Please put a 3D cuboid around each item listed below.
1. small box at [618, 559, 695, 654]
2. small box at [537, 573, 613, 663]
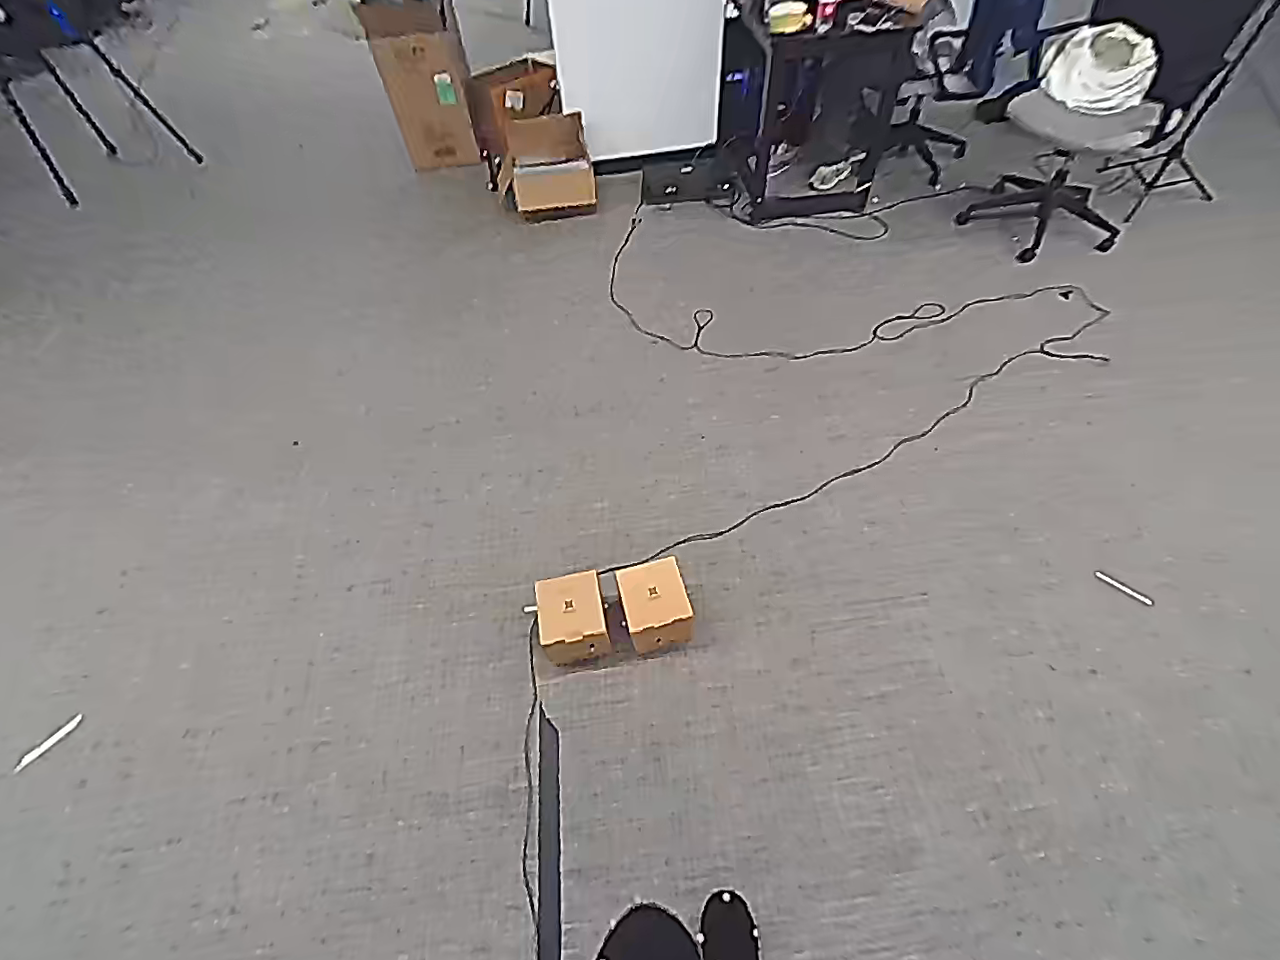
[{"bbox_3d":[0.043,0.343,1.456,0.168,0.176,0.179,-14,55,-6],"label":"small box"},{"bbox_3d":[-0.171,0.377,1.447,0.168,0.176,0.179,-11,54,-4],"label":"small box"}]
